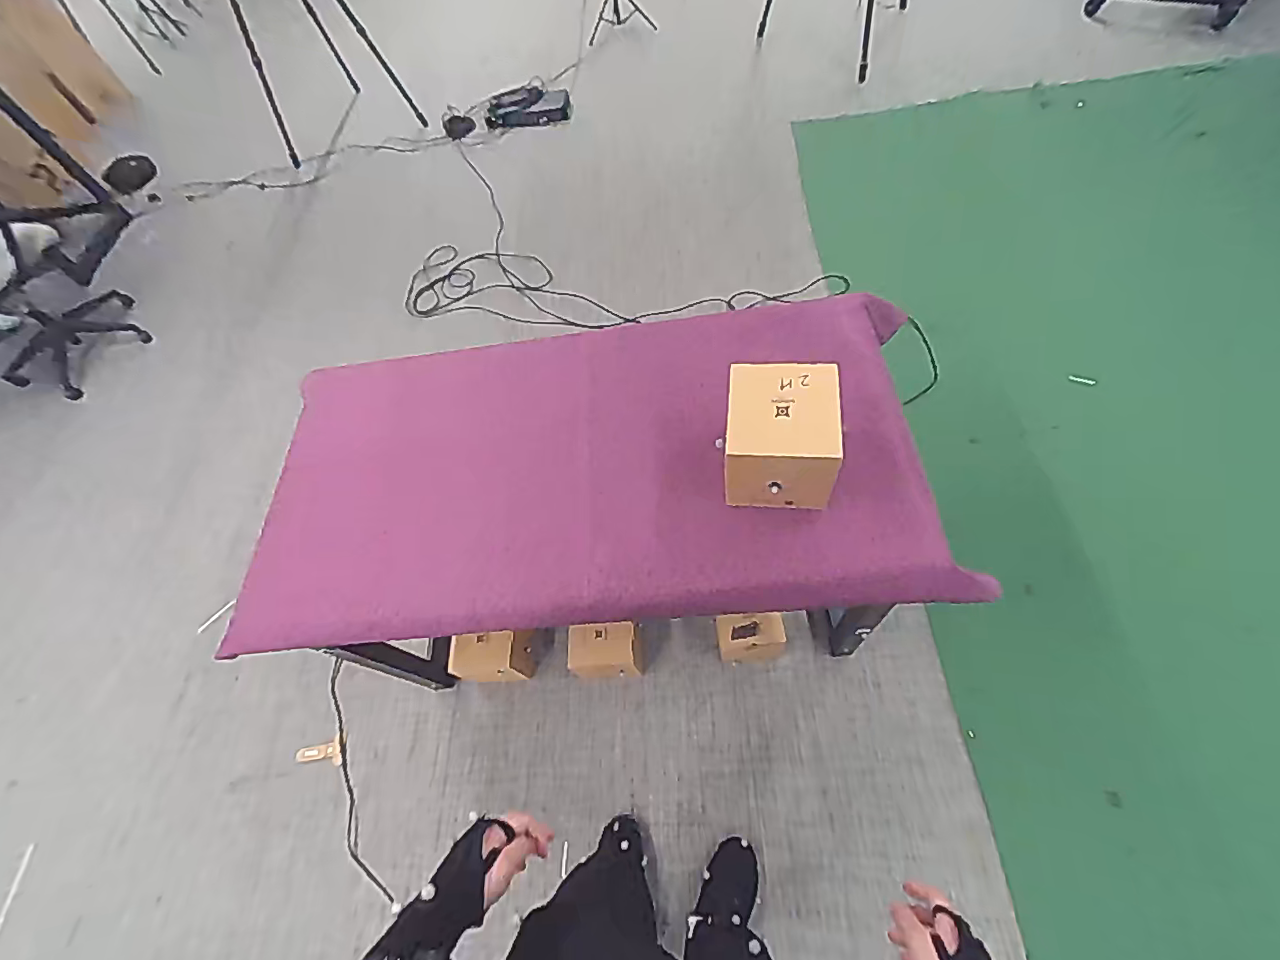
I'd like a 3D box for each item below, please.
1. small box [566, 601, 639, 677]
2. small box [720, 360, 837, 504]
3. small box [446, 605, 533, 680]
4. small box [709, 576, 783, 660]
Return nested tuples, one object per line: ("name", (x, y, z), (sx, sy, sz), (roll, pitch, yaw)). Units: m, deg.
("small box", (-0.096, 0.439, 1.482), (0.179, 0.176, 0.168), (-6, 59, 7))
("small box", (0.220, -0.073, 0.874), (0.168, 0.176, 0.179), (3, 61, 11))
("small box", (-0.417, 0.462, 1.524), (0.179, 0.176, 0.168), (-6, 60, 6))
("small box", (0.282, 0.378, 1.451), (0.168, 0.176, 0.179), (-8, 59, 4))
